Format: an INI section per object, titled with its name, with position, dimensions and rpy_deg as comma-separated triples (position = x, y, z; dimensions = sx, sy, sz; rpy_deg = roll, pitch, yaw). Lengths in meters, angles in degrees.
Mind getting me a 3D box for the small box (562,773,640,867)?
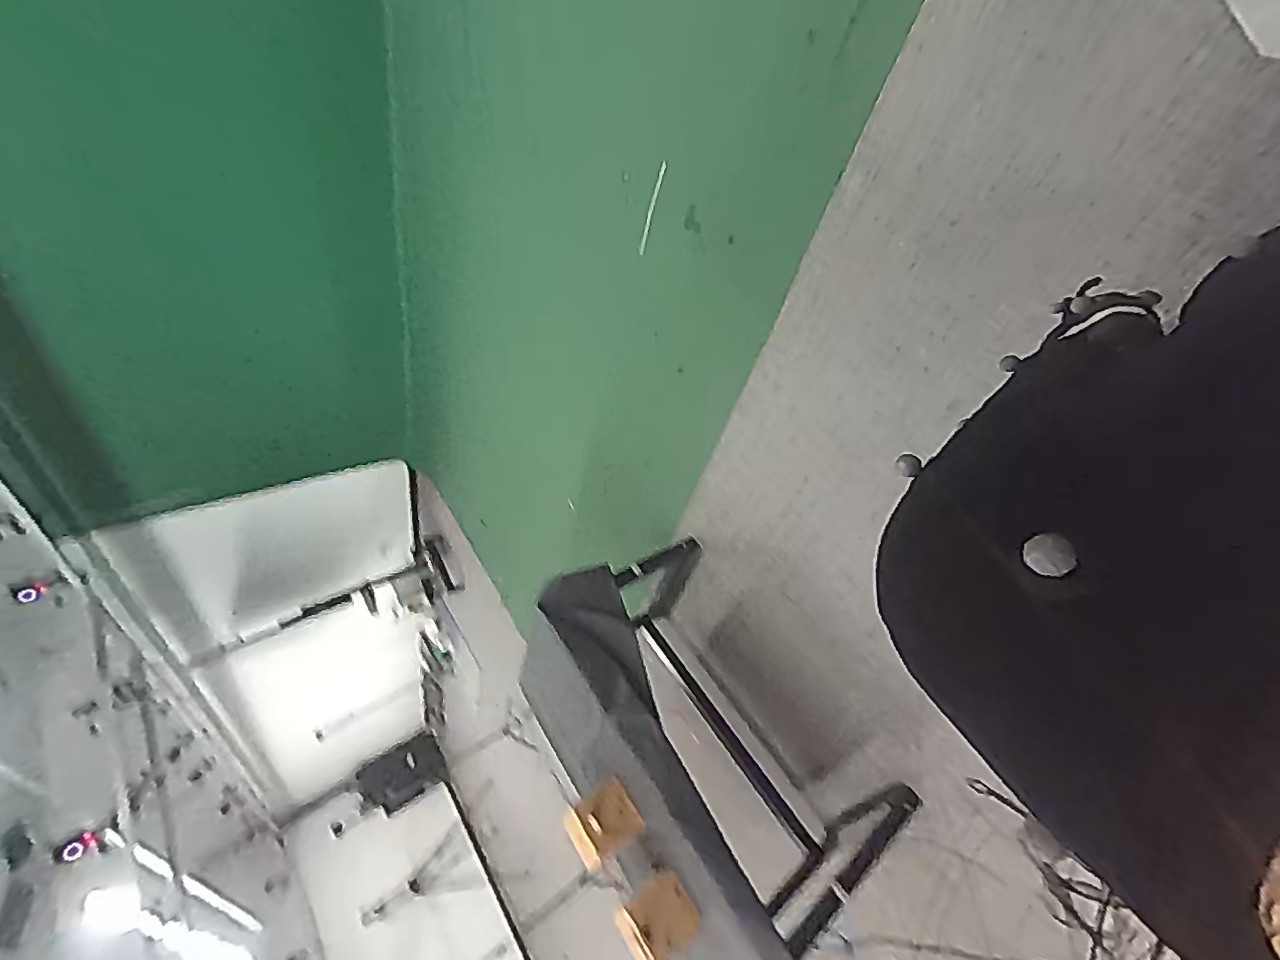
[small box]
position = -0.120, 1.057, 1.686
dimensions = 0.168, 0.176, 0.179
rpy_deg = 50, 140, 28
